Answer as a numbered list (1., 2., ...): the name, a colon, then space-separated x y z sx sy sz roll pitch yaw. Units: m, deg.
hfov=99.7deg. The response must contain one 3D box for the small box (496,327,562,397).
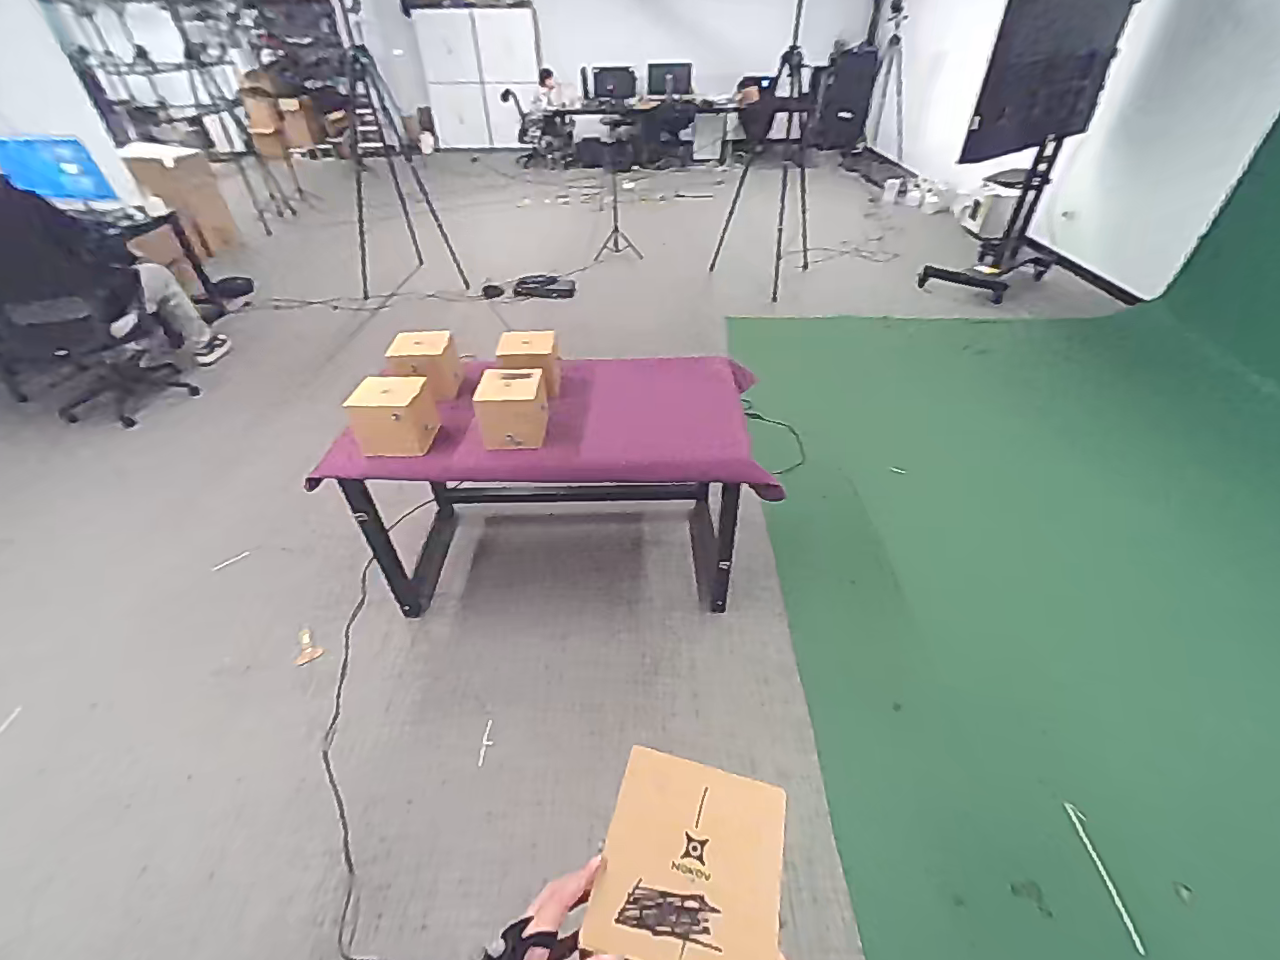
1. small box: -0.352 -0.382 1.753 0.179 0.176 0.168 -2 40 0

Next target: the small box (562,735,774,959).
1. small box: 0.033 0.400 0.545 0.168 0.176 0.179 11 39 10

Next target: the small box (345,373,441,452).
1. small box: -0.692 -0.190 1.535 0.179 0.176 0.168 0 39 1

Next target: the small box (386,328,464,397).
1. small box: -0.690 -0.379 1.755 0.179 0.176 0.168 -2 41 -2
